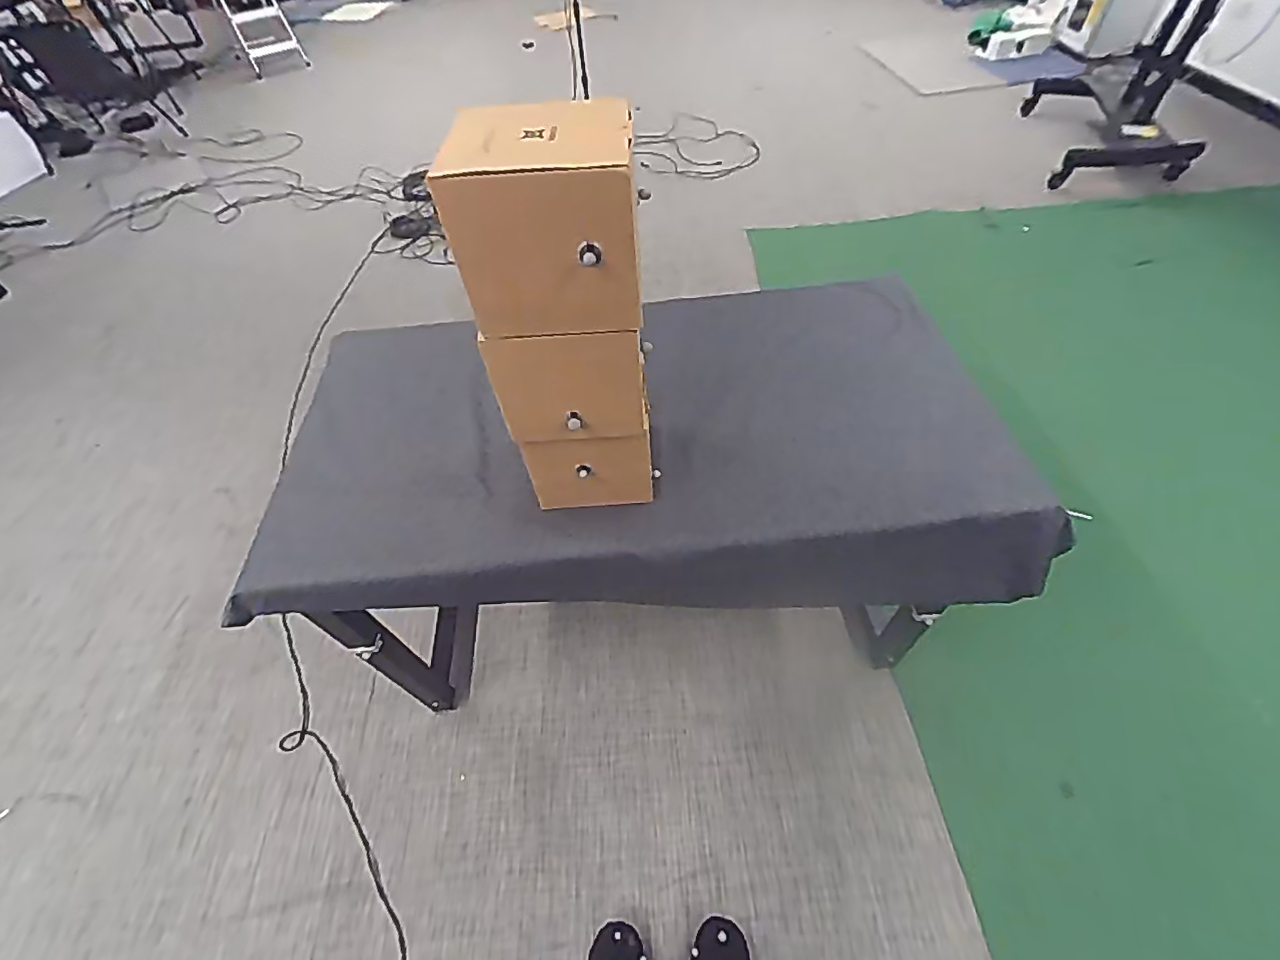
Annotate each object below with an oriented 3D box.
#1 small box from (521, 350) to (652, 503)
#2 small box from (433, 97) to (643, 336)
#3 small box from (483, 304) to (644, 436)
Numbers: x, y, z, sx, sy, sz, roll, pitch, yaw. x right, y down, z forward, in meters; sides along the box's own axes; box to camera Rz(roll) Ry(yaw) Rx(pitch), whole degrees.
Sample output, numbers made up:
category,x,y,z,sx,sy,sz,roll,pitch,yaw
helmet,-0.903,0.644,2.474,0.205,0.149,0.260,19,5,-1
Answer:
category,x,y,z,sx,sy,sz,roll,pitch,yaw
small box,-0.071,-0.079,0.831,0.179,0.176,0.168,-4,52,2
small box,-0.087,-0.270,0.567,0.179,0.176,0.168,-4,51,3
small box,-0.084,-0.171,0.697,0.179,0.176,0.168,-3,52,1
